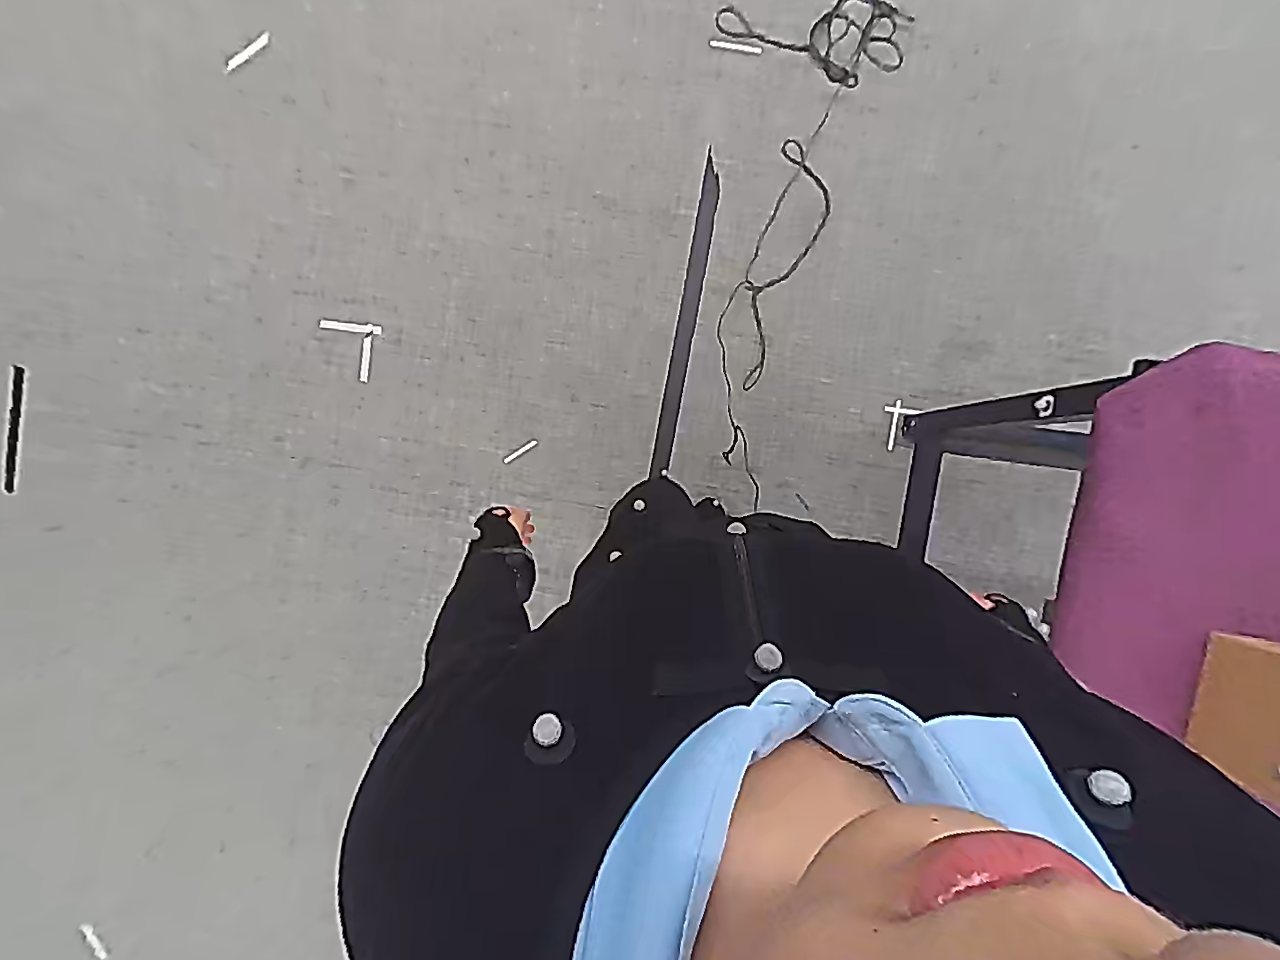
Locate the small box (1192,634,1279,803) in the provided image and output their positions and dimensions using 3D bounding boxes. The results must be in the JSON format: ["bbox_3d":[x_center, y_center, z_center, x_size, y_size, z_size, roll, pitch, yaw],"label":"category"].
[{"bbox_3d":[0.842,0.310,0.656,0.168,0.176,0.179,10,93,1],"label":"small box"}]
